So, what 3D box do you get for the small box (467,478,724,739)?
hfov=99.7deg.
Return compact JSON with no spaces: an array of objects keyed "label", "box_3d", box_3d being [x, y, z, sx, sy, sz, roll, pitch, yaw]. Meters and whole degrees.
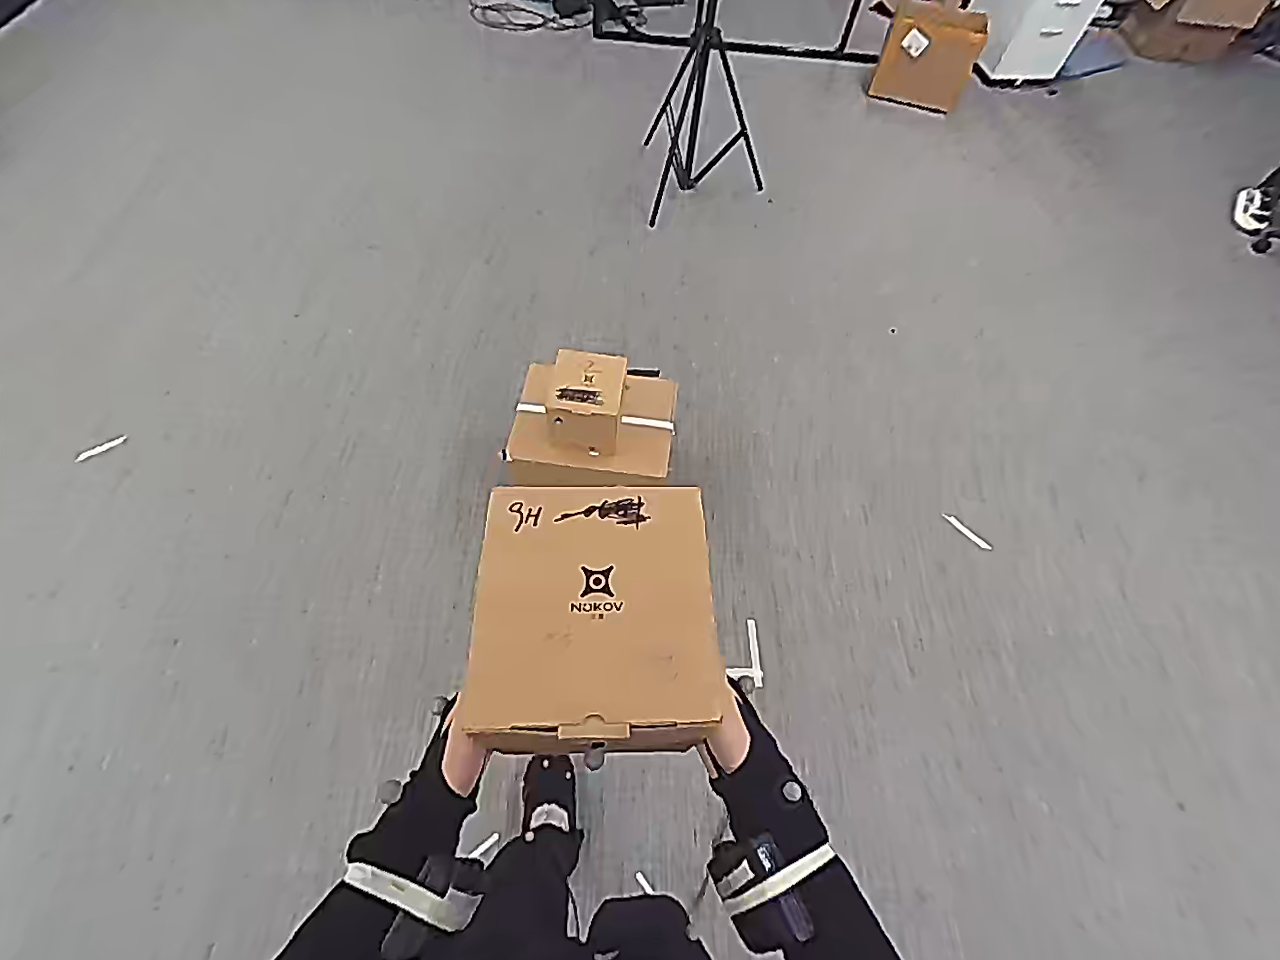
[{"label":"small box","box_3d":[-0.033,0.115,0.447,0.168,0.176,0.179,1,60,-5]}]
